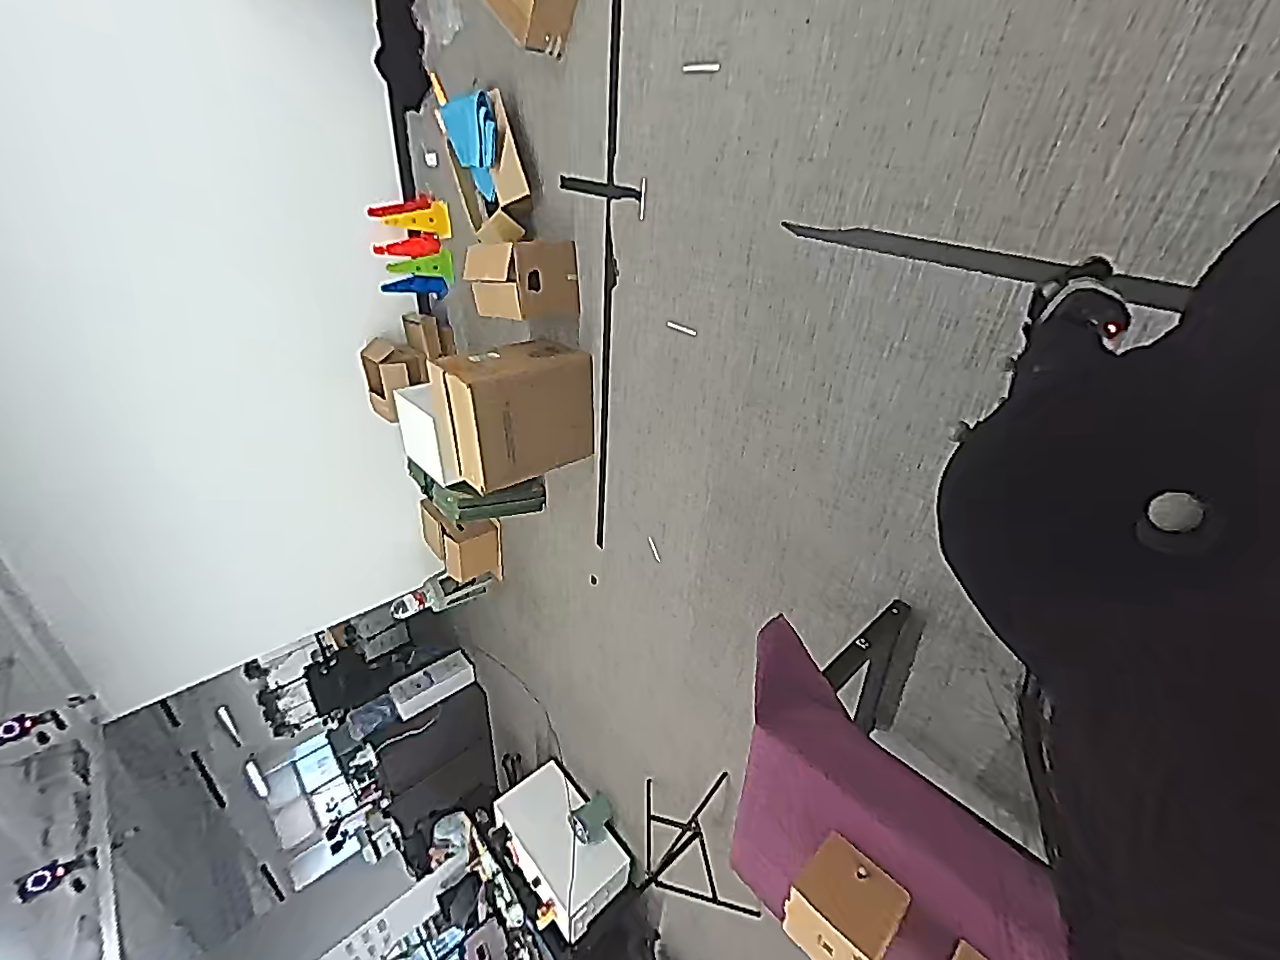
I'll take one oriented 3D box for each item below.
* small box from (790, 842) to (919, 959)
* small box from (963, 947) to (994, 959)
[{"bbox_3d":[0.440,0.897,1.119,0.179,0.176,0.168,27,128,42],"label":"small box"},{"bbox_3d":[0.615,0.991,0.945,0.168,0.176,0.179,26,126,42],"label":"small box"}]
